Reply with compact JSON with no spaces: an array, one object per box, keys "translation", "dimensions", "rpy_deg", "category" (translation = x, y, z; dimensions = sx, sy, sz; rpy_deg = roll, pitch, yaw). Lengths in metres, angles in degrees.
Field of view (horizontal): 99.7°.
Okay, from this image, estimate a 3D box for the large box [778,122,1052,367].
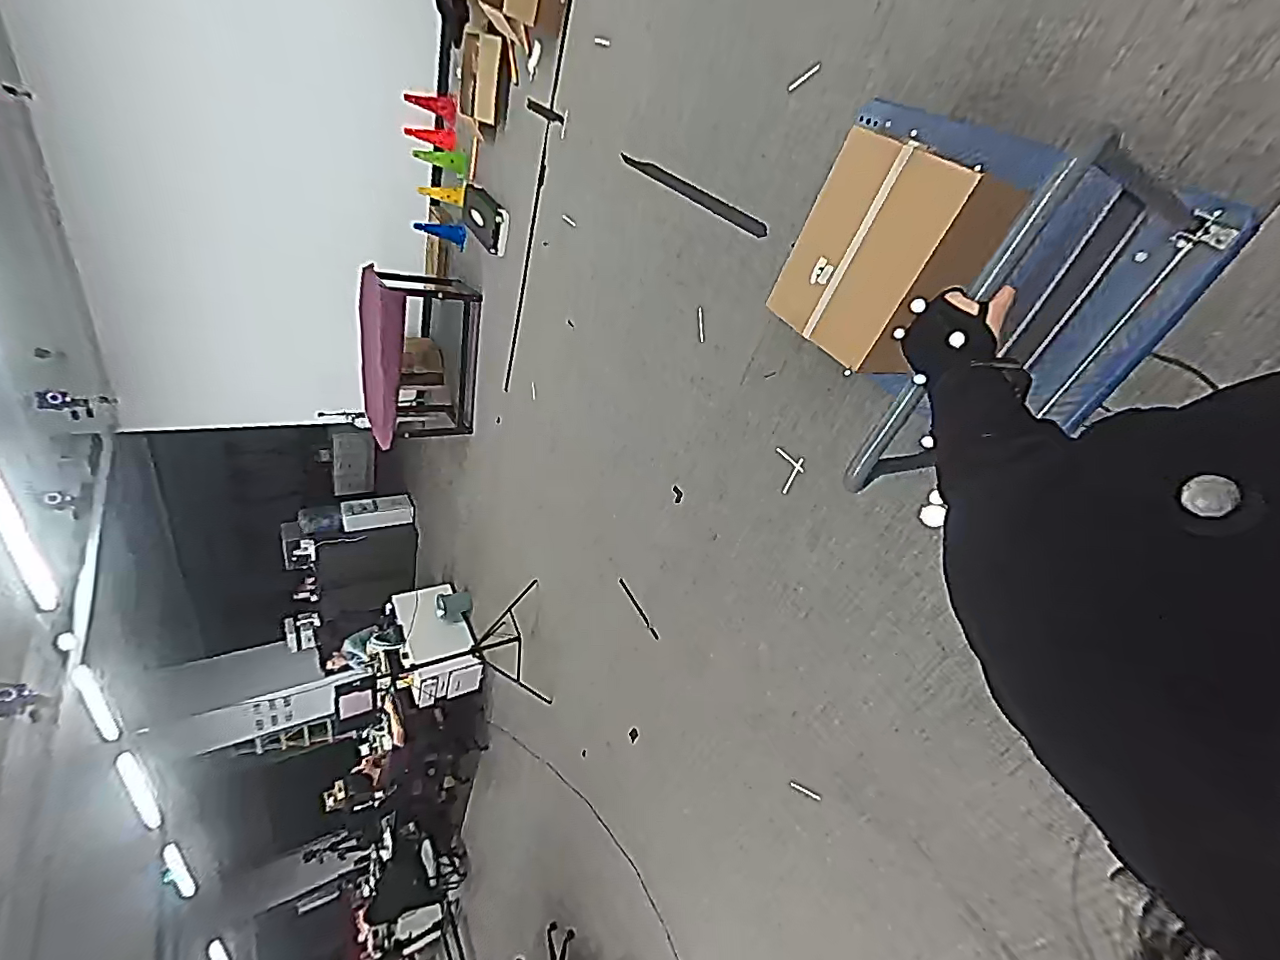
[{"translation":[0.593,-0.509,1.215],"dimensions":[0.320,0.320,0.408],"rpy_deg":[54,138,36],"category":"large box"}]
